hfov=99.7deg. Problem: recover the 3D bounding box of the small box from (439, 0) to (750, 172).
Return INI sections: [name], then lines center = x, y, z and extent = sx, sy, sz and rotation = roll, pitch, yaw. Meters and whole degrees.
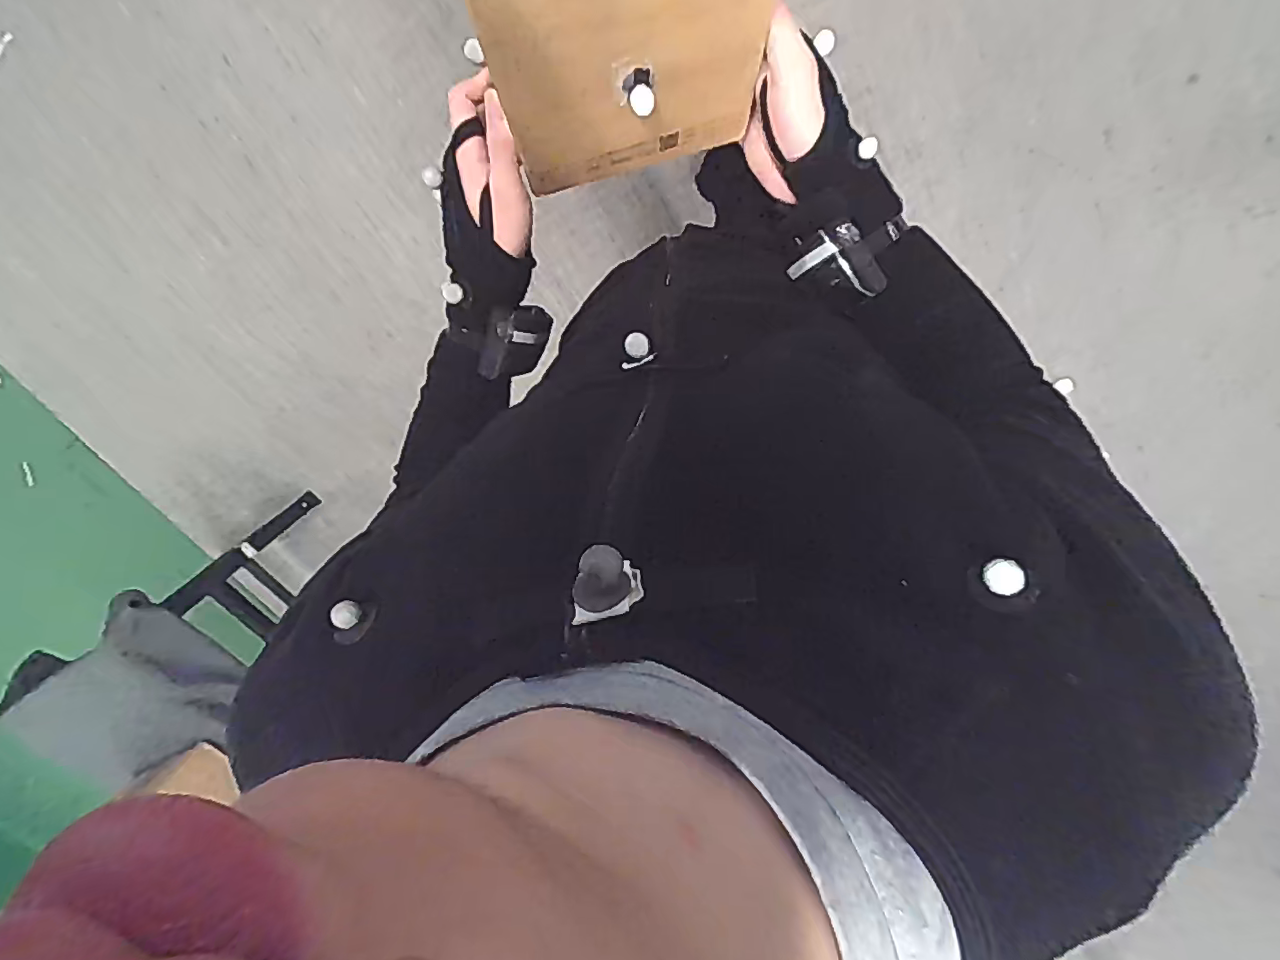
[small box]
center = -0.034, -0.318, 0.322
extent = 0.168, 0.176, 0.179
rotation = -15, 86, 0
